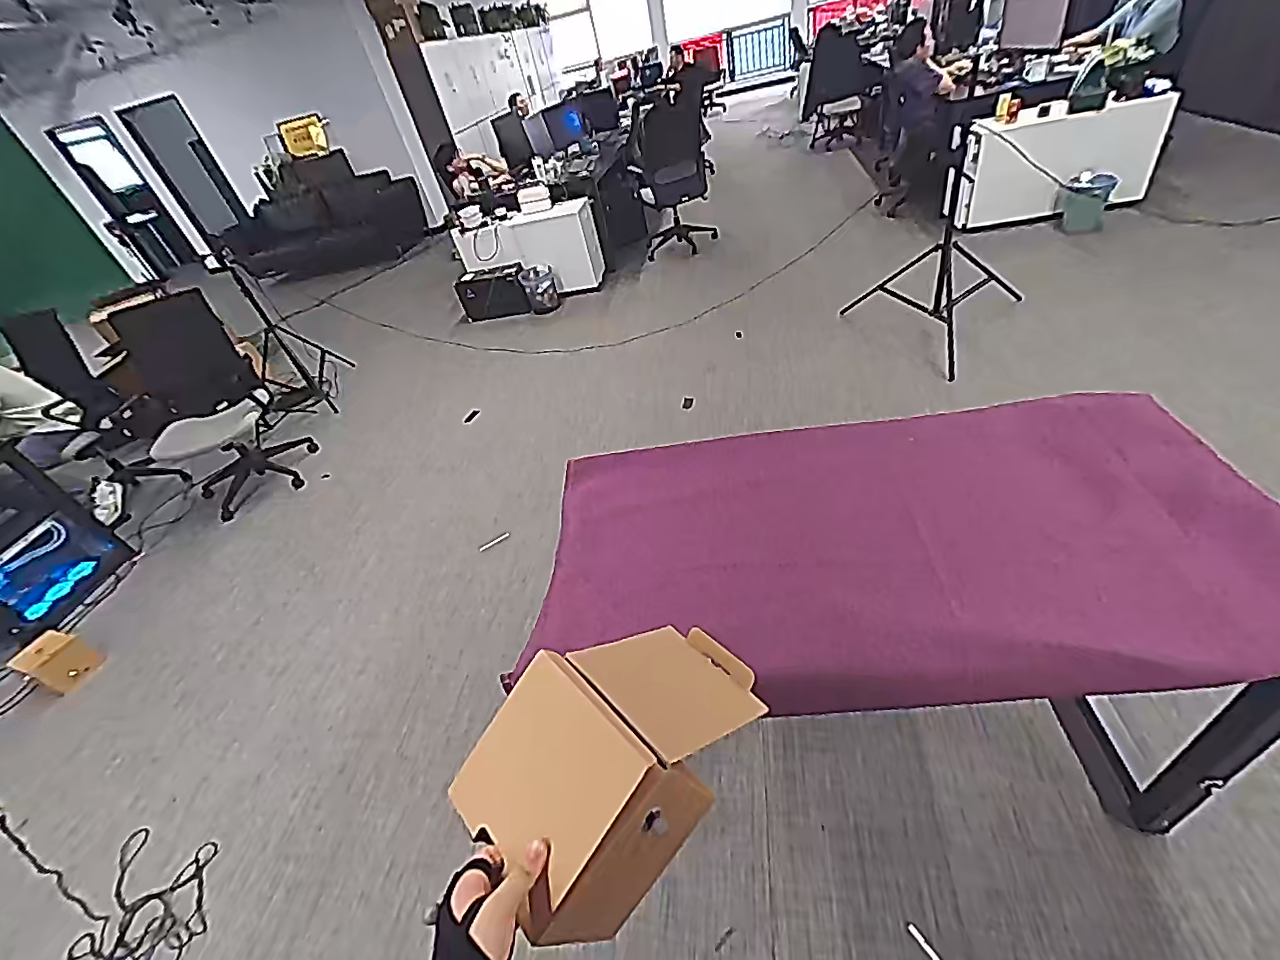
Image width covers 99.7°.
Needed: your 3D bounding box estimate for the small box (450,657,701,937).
[{"bbox_3d":[-0.055,0.329,0.571,0.179,0.176,0.168,-47,47,-14],"label":"small box"}]
